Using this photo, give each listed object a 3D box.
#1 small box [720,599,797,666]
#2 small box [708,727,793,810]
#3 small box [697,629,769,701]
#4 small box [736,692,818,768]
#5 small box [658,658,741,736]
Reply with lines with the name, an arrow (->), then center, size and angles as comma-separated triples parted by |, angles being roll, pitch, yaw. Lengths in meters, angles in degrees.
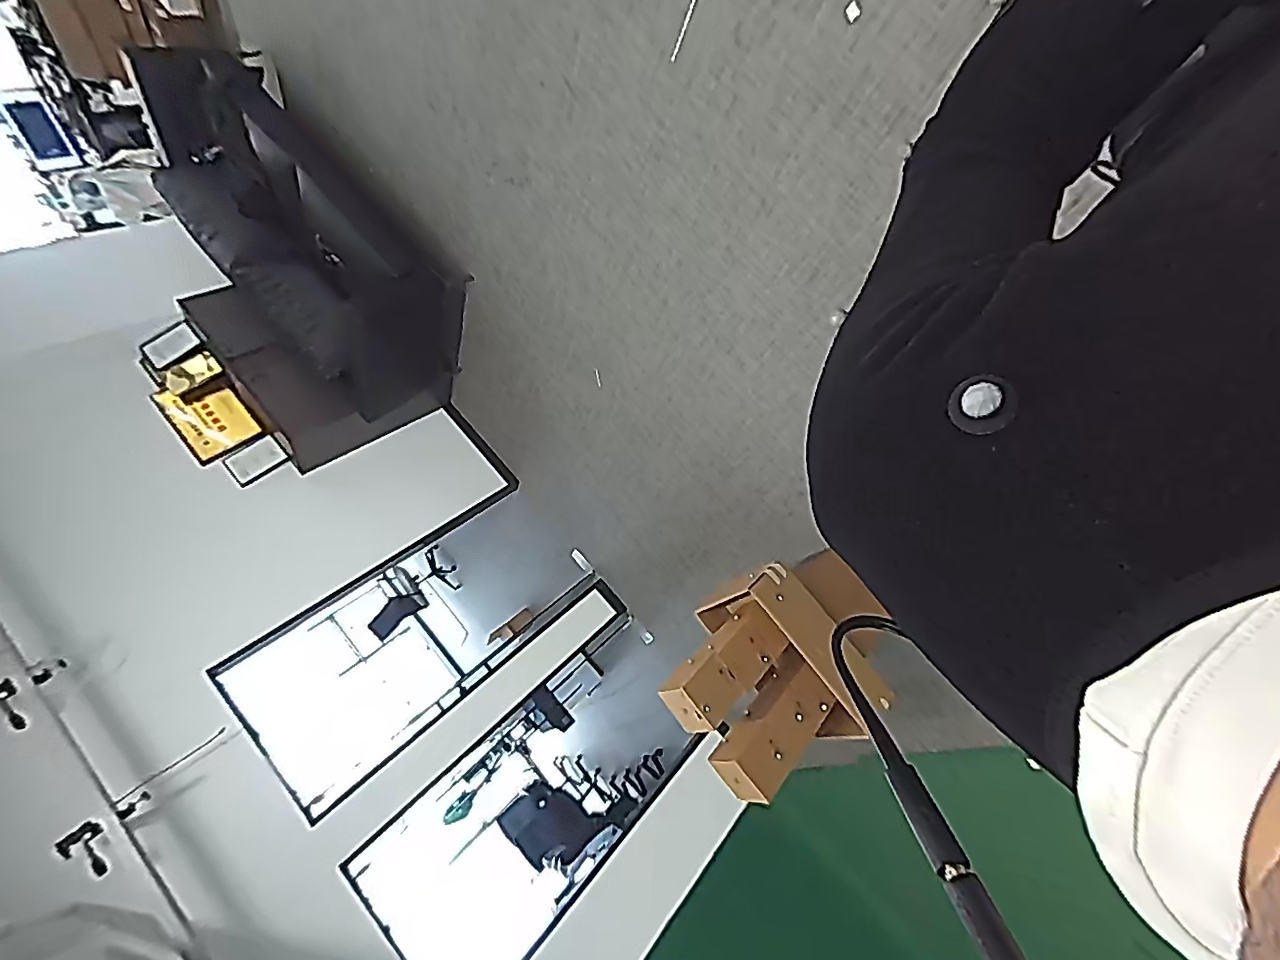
small box -> 0.427, 0.554, 1.940 | 0.168, 0.176, 0.179 | 52, 145, 4
small box -> 0.359, 0.924, 1.748 | 0.168, 0.176, 0.179 | 51, 146, 4
small box -> 0.315, 0.632, 1.847 | 0.168, 0.176, 0.179 | 52, 146, 4
small box -> 0.470, 0.847, 1.840 | 0.168, 0.176, 0.179 | 50, 145, 5
small box -> 0.196, 0.704, 1.760 | 0.168, 0.176, 0.179 | 52, 145, 4
